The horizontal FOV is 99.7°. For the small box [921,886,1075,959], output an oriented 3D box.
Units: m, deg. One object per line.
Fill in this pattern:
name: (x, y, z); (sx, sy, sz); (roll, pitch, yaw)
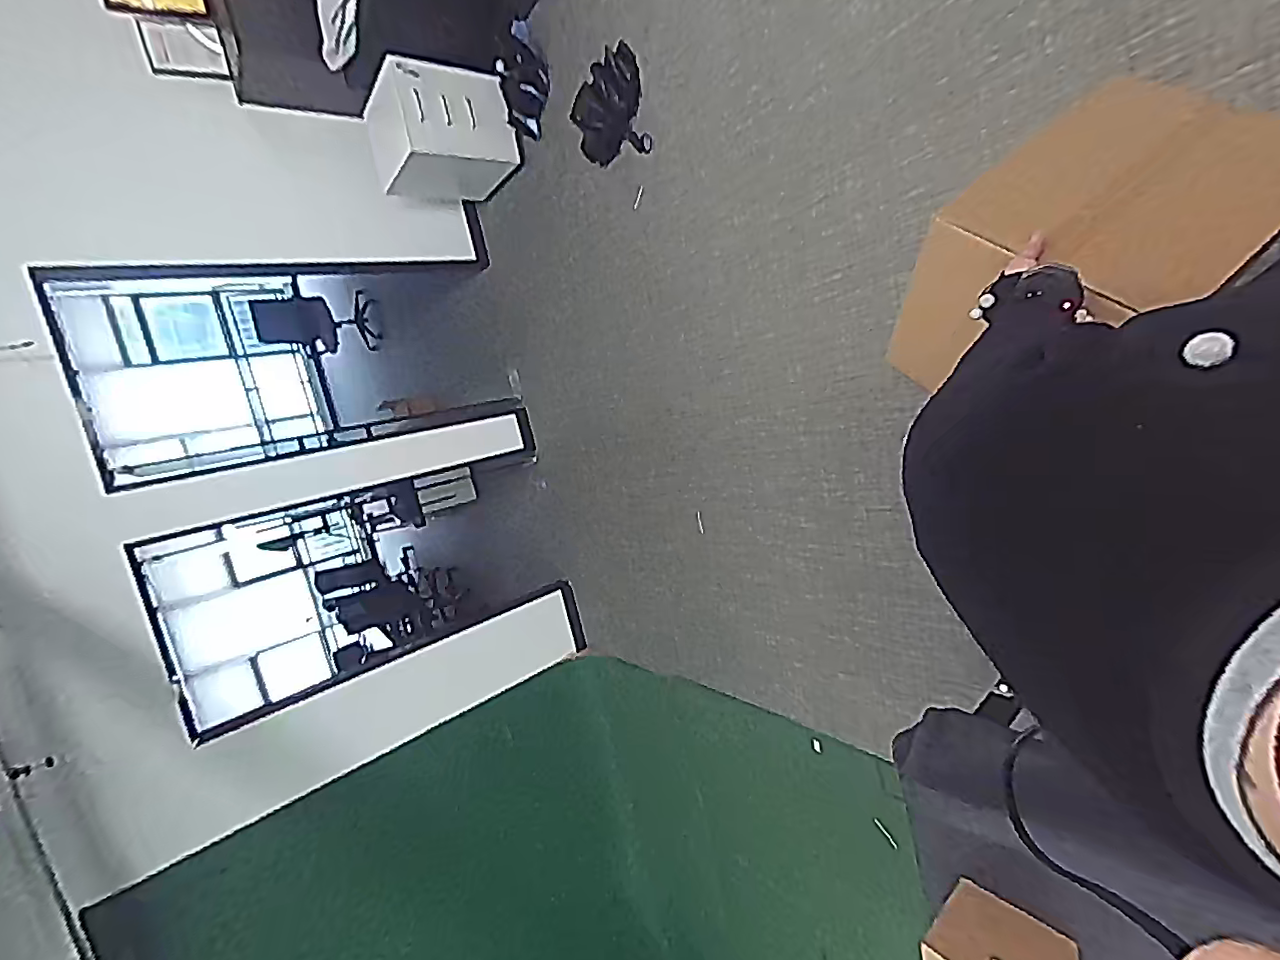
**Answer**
small box: (0.601, 0.845, 0.907); (0.179, 0.176, 0.168); (6, 109, 53)
